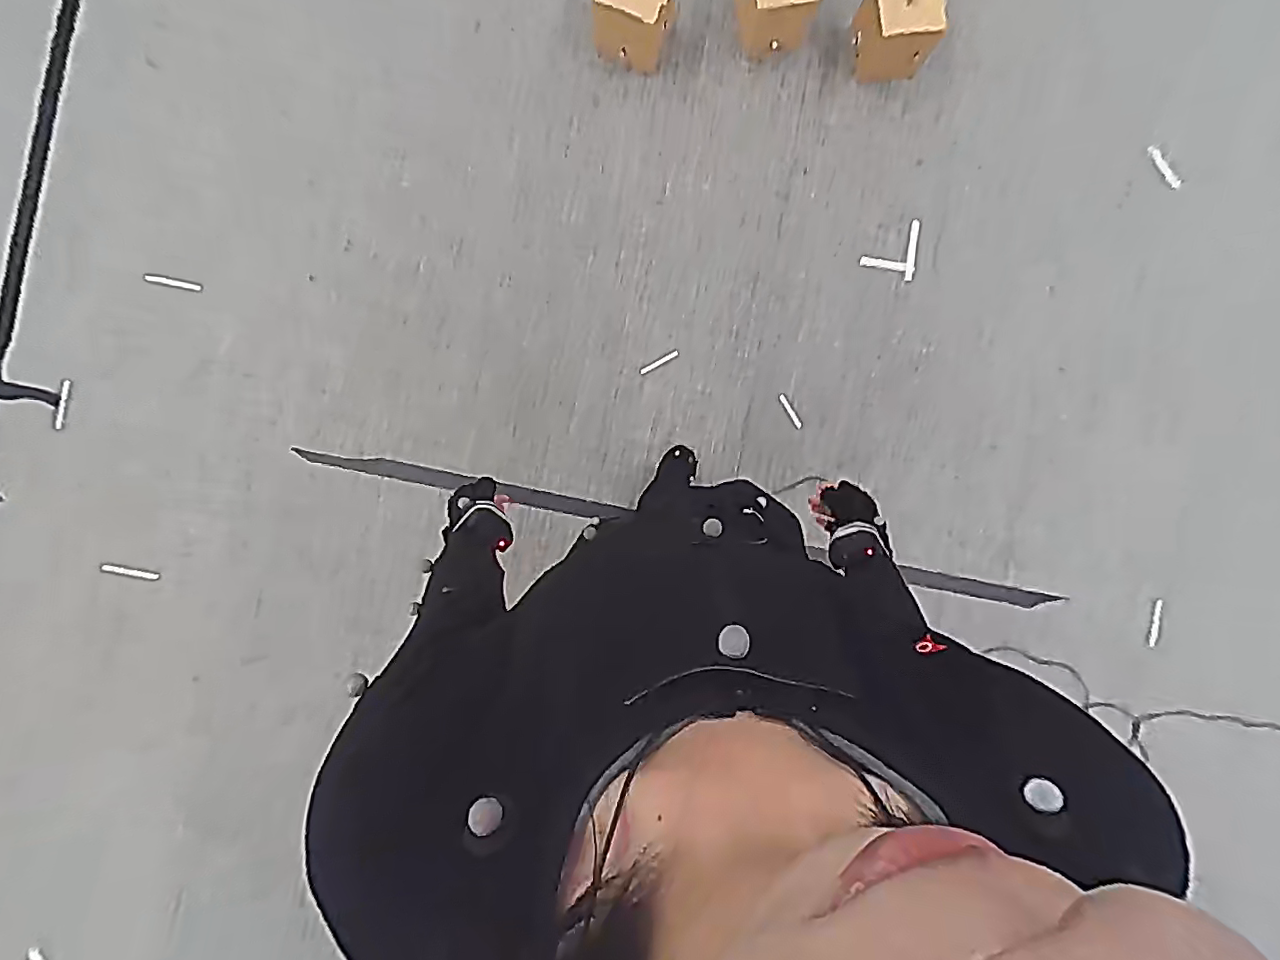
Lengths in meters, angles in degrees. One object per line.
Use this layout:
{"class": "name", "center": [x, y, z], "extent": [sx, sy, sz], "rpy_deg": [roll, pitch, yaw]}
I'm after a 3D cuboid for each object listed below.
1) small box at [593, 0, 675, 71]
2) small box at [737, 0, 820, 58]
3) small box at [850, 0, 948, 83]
{"class": "small box", "center": [-0.011, -1.260, 1.459], "extent": [0.179, 0.176, 0.168], "rpy_deg": [23, 88, -1]}
{"class": "small box", "center": [0.368, -1.299, 1.466], "extent": [0.168, 0.176, 0.179], "rpy_deg": [-9, 90, -1]}
{"class": "small box", "center": [0.701, -1.230, 1.475], "extent": [0.179, 0.176, 0.168], "rpy_deg": [-8, 89, -1]}
